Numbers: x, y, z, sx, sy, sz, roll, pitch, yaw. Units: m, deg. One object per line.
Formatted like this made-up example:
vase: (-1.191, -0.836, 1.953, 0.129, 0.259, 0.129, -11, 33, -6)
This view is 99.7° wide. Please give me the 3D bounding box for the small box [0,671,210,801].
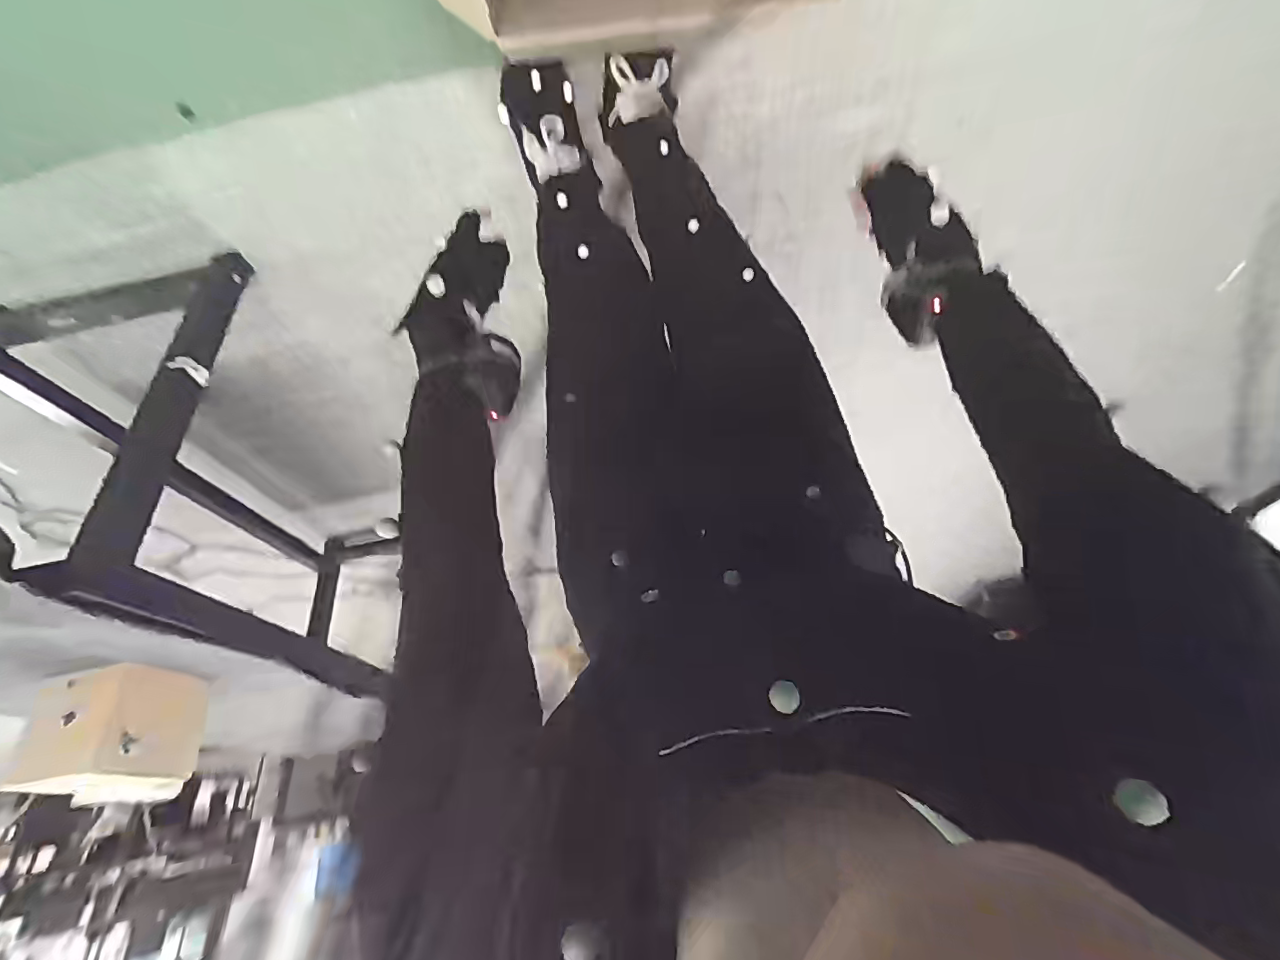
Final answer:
small box: (-0.891, 0.432, 0.915, 0.168, 0.176, 0.179, -12, 147, 5)
